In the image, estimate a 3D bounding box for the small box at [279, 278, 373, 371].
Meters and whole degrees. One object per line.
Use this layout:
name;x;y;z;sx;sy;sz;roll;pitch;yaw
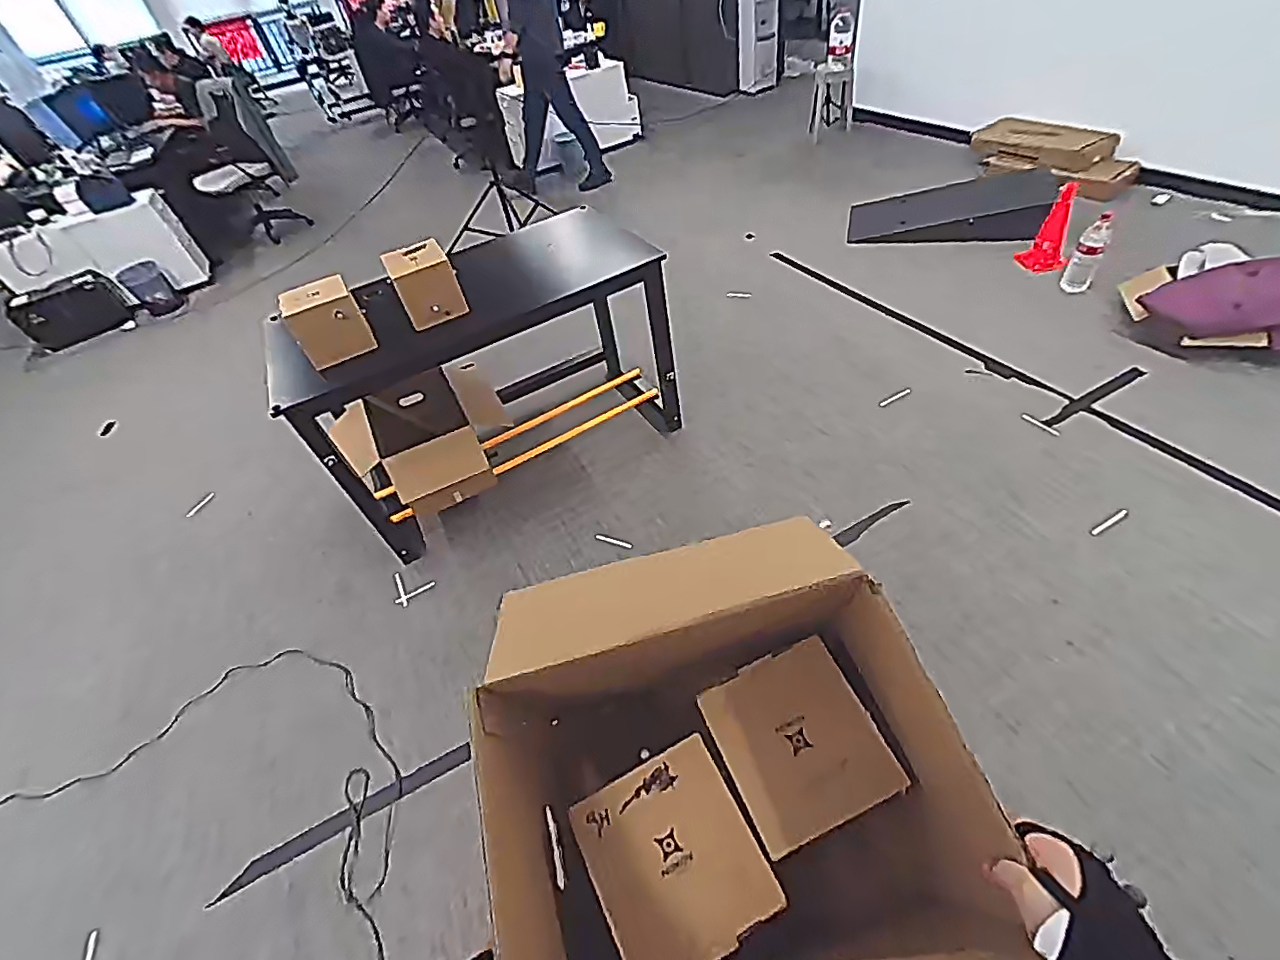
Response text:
small box;-0.881;-0.439;1.532;0.179;0.176;0.168;-27;48;-15

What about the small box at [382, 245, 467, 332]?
small box;-0.638;-0.568;1.608;0.168;0.176;0.179;-26;48;-13
